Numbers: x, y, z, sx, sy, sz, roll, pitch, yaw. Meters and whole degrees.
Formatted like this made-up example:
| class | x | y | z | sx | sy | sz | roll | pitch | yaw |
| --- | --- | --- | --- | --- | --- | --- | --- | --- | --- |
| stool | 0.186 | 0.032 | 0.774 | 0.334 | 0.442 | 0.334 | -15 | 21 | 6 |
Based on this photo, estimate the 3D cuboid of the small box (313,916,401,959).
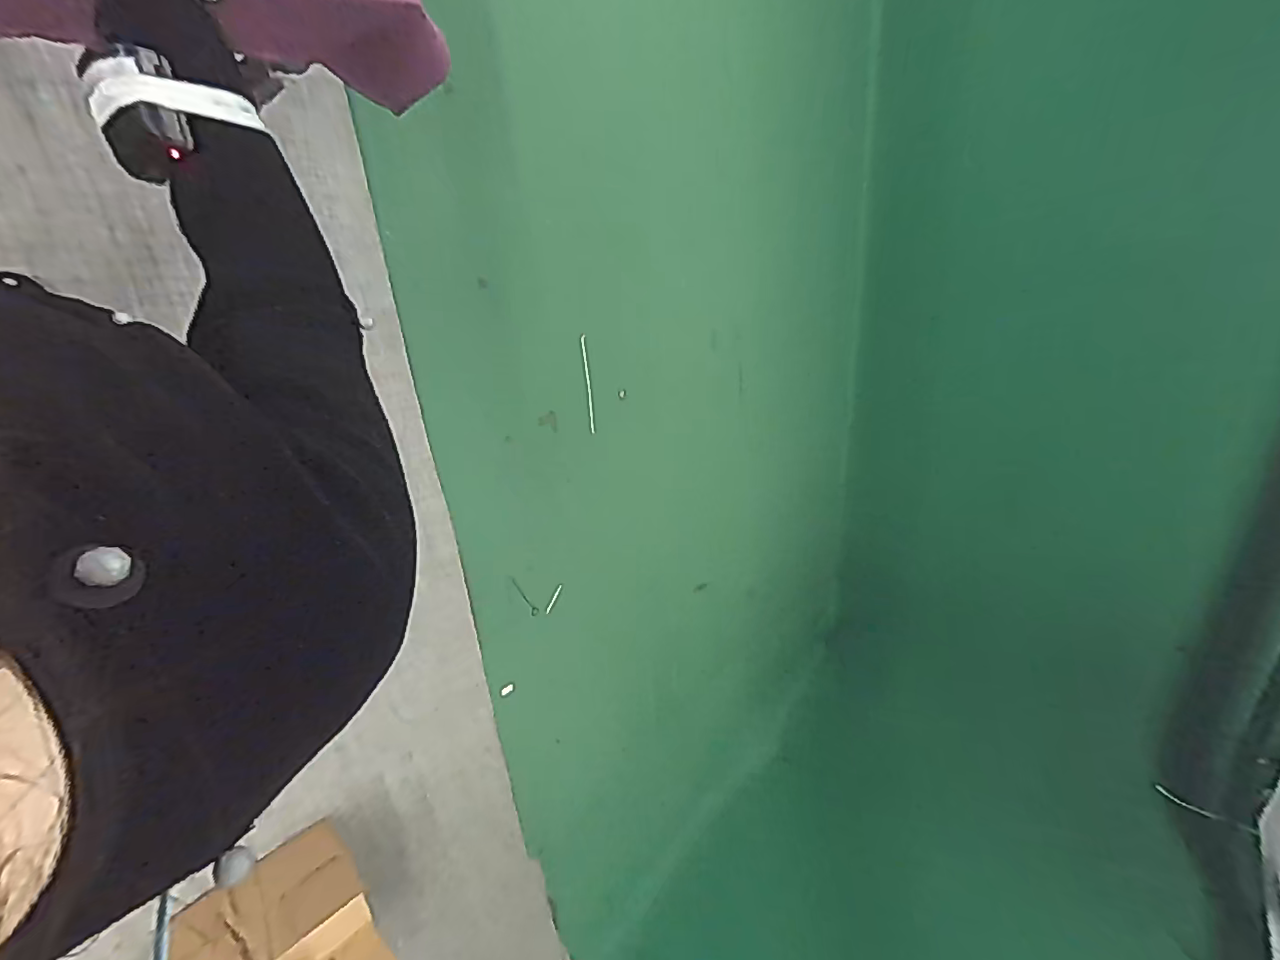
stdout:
| class | x | y | z | sx | sy | sz | roll | pitch | yaw |
| --- | --- | --- | --- | --- | --- | --- | --- | --- | --- |
| small box | -0.719 | 1.287 | 1.386 | 0.168 | 0.176 | 0.179 | -20 | 119 | -45 |
